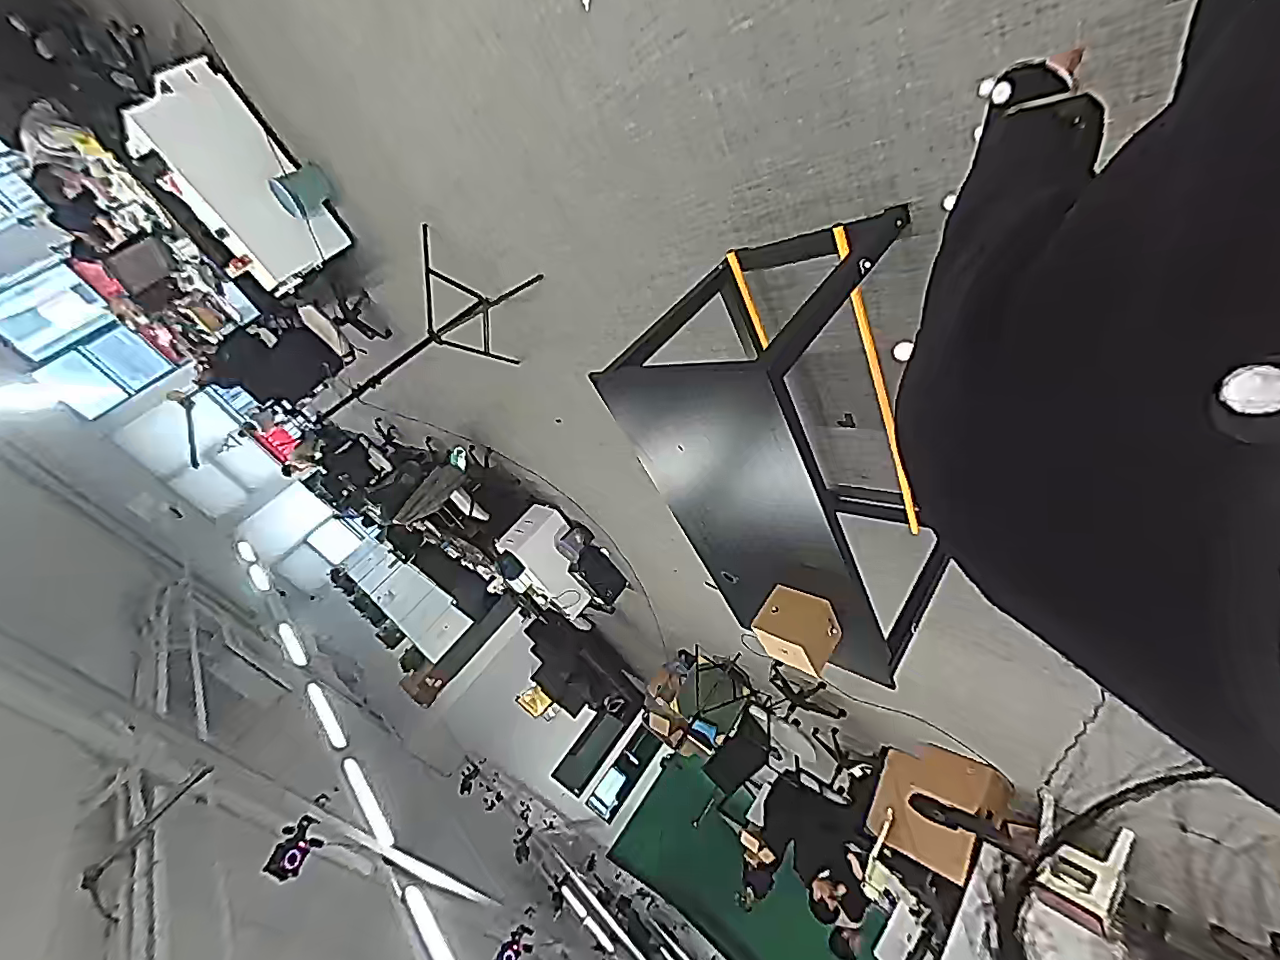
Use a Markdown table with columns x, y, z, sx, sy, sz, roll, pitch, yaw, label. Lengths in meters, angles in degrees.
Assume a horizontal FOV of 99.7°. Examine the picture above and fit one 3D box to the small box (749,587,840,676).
| x | y | z | sx | sy | sz | roll | pitch | yaw | label |
| --- | --- | --- | --- | --- | --- | --- | --- | --- | --- |
| 0.463 | 0.443 | 1.612 | 0.179 | 0.176 | 0.168 | 11 | 142 | 48 | small box |
